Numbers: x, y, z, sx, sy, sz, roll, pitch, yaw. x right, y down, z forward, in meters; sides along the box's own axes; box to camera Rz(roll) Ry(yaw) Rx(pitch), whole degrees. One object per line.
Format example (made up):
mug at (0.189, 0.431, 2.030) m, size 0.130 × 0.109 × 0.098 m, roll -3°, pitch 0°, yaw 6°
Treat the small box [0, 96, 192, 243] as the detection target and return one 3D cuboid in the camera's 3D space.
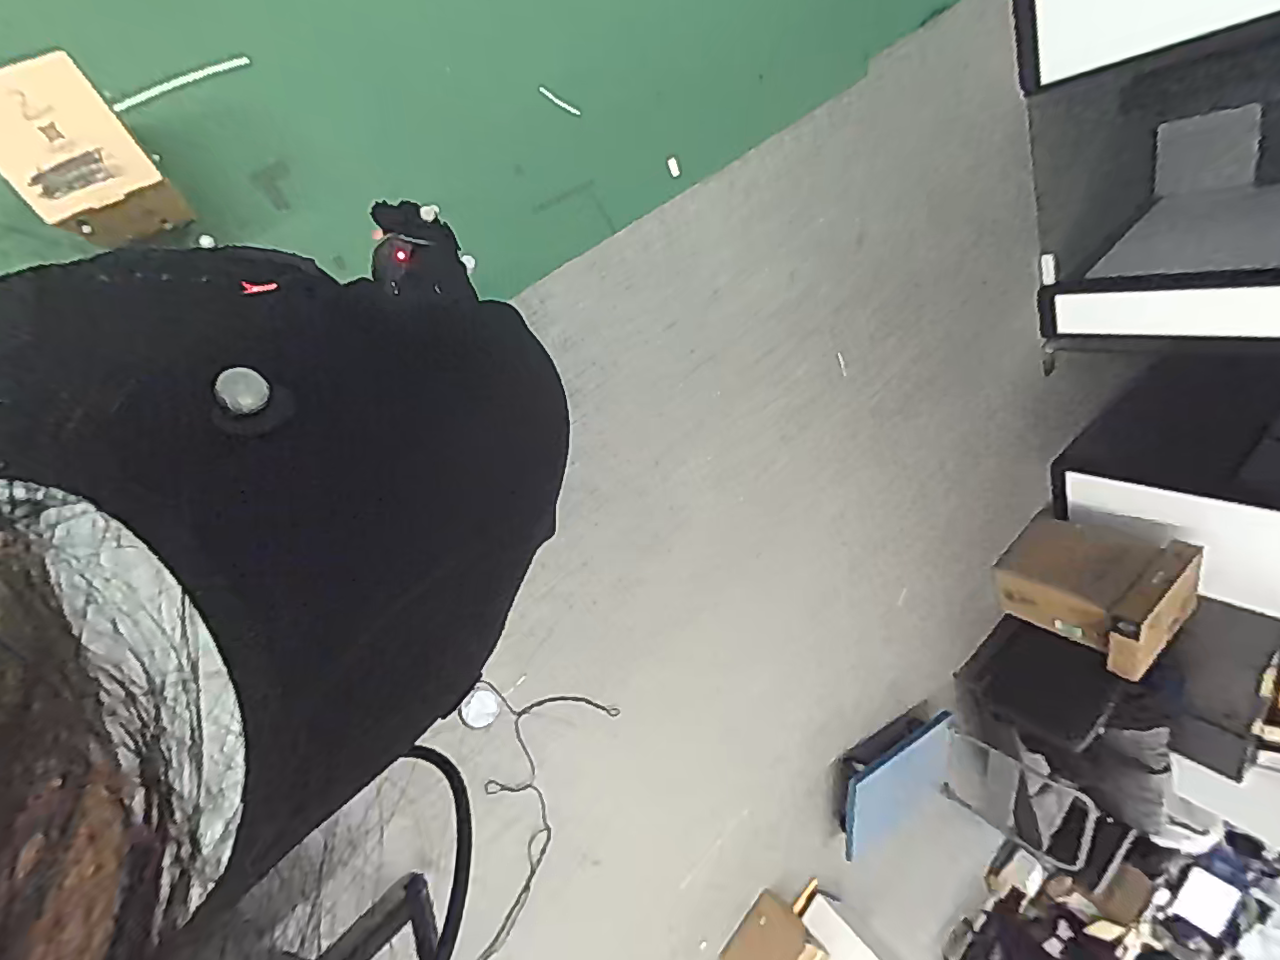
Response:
small box at (-0.954, -0.541, 0.968) m, size 0.168 × 0.176 × 0.179 m, roll -35°, pitch 120°, yaw -19°
